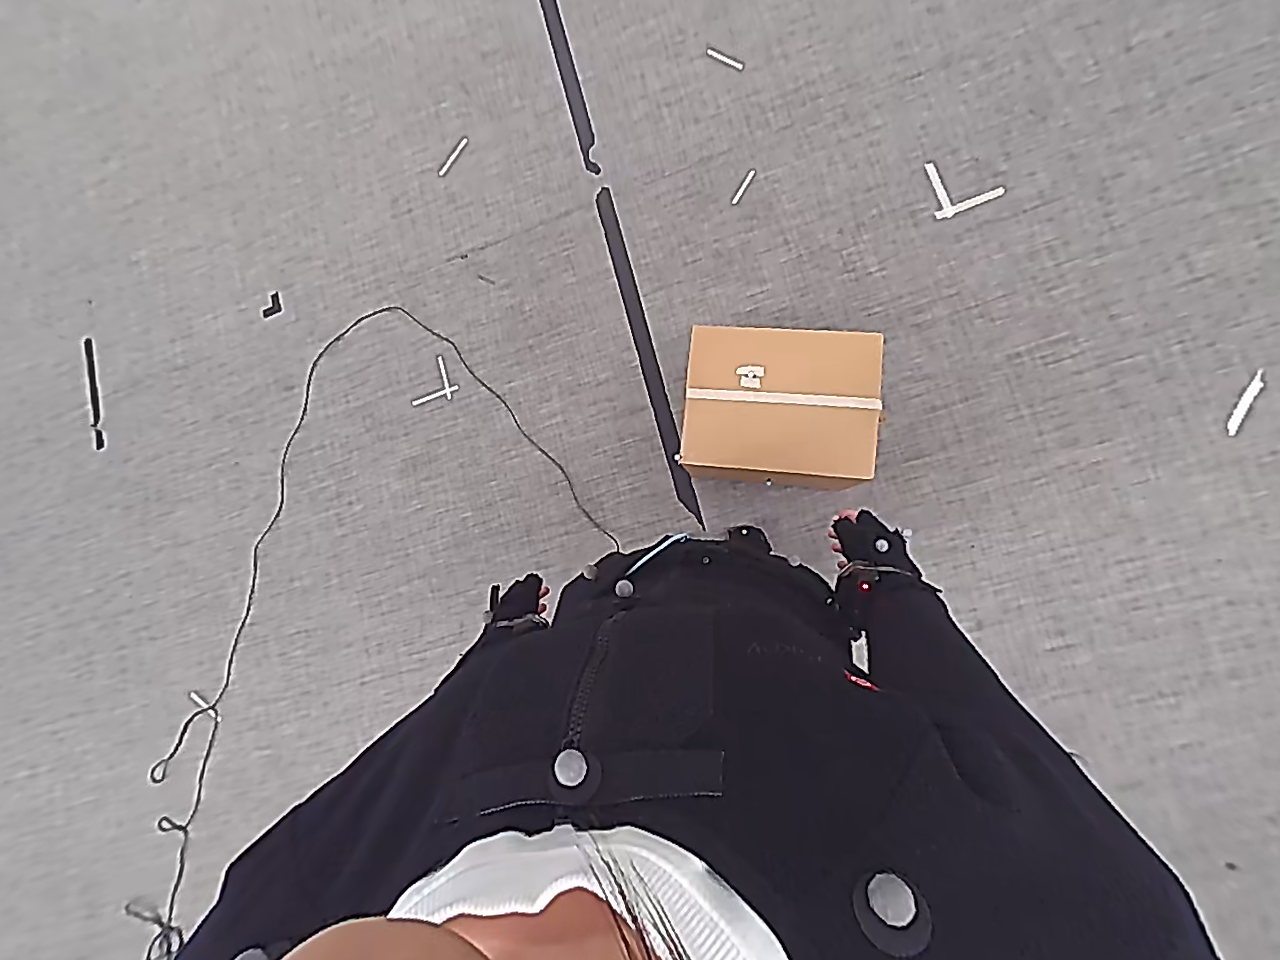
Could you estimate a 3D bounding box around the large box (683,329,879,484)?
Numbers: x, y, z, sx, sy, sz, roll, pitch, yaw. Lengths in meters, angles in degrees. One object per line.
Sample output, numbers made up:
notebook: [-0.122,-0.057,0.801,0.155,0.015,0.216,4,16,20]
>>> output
large box: [0.332,-0.163,1.316,0.408,0.320,0.320,5,85,11]
